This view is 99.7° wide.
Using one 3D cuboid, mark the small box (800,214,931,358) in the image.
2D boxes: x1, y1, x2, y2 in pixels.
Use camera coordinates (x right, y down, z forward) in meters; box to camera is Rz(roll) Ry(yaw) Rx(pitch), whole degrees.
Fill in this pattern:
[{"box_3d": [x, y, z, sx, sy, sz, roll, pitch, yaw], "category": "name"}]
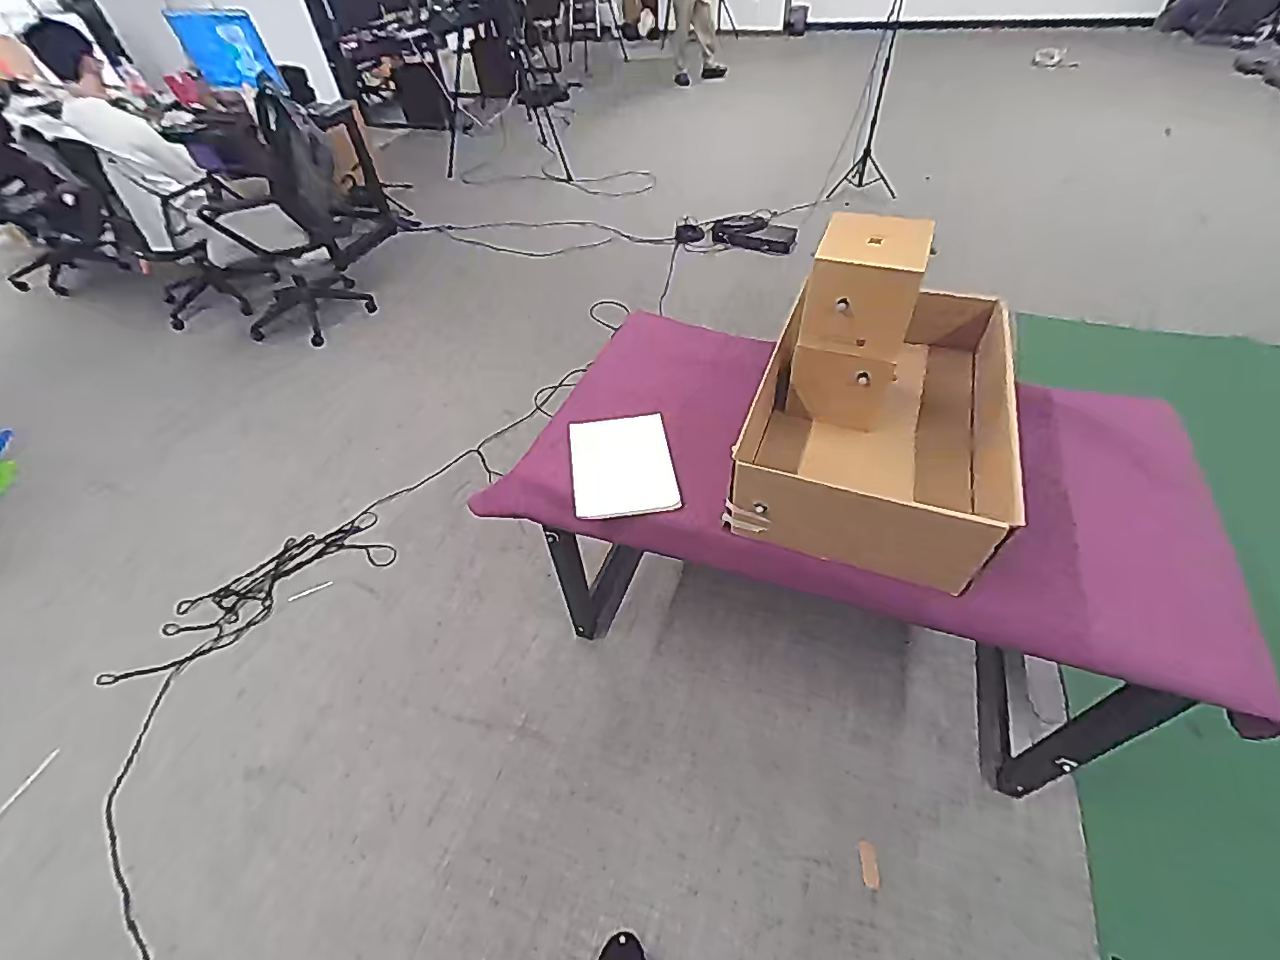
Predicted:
[{"box_3d": [0.383, -0.334, 0.936, 0.168, 0.176, 0.179, 16, 52, 19], "category": "small box"}]
